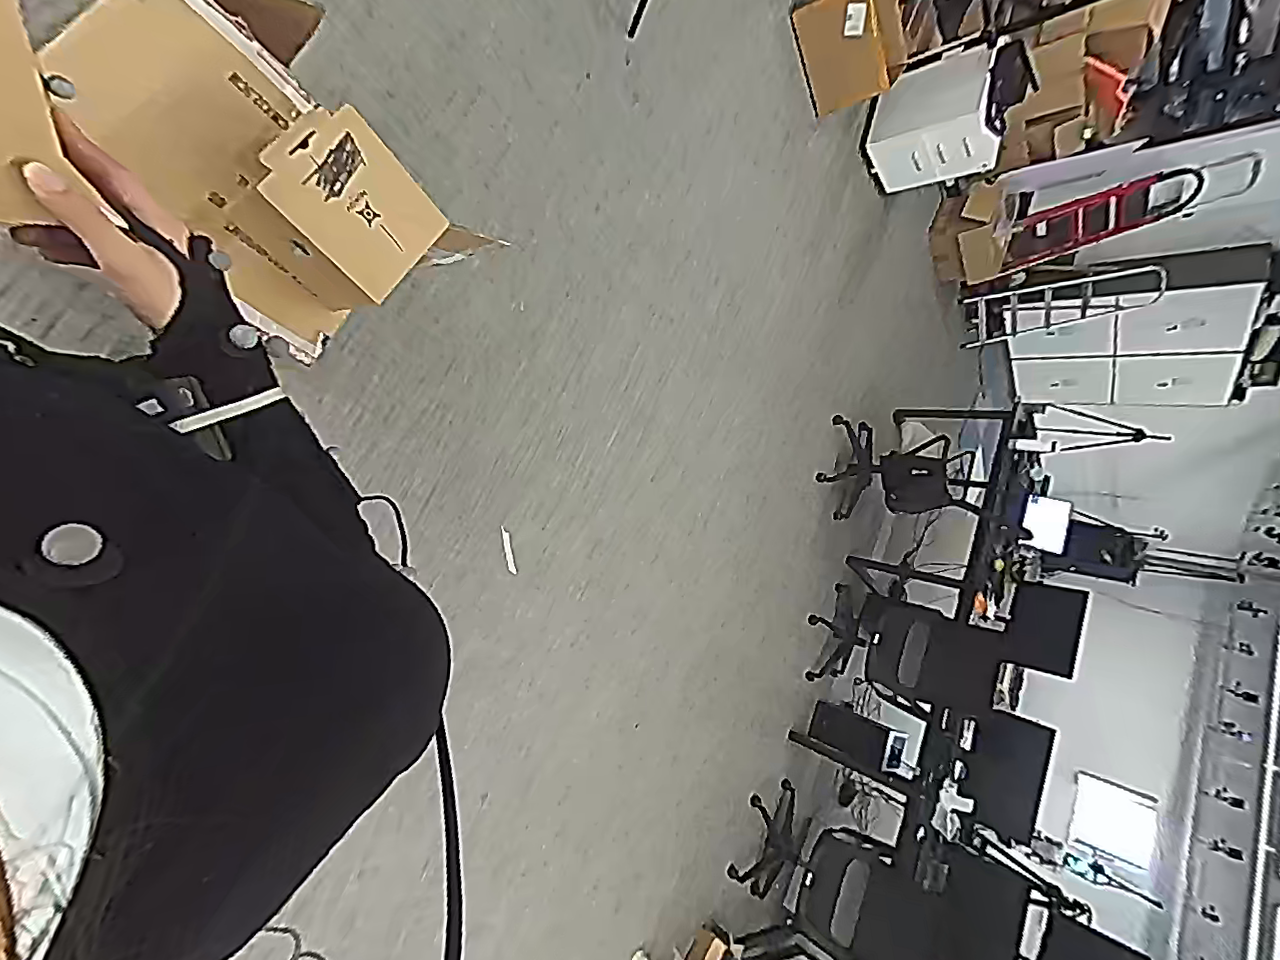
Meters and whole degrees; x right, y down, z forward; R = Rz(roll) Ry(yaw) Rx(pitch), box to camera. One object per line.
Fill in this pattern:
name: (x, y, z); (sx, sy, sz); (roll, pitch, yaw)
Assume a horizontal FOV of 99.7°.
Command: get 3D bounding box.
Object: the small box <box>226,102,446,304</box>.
small box: (-0.412, -0.358, 0.736); (0.168, 0.176, 0.179); (-59, 136, -19)
